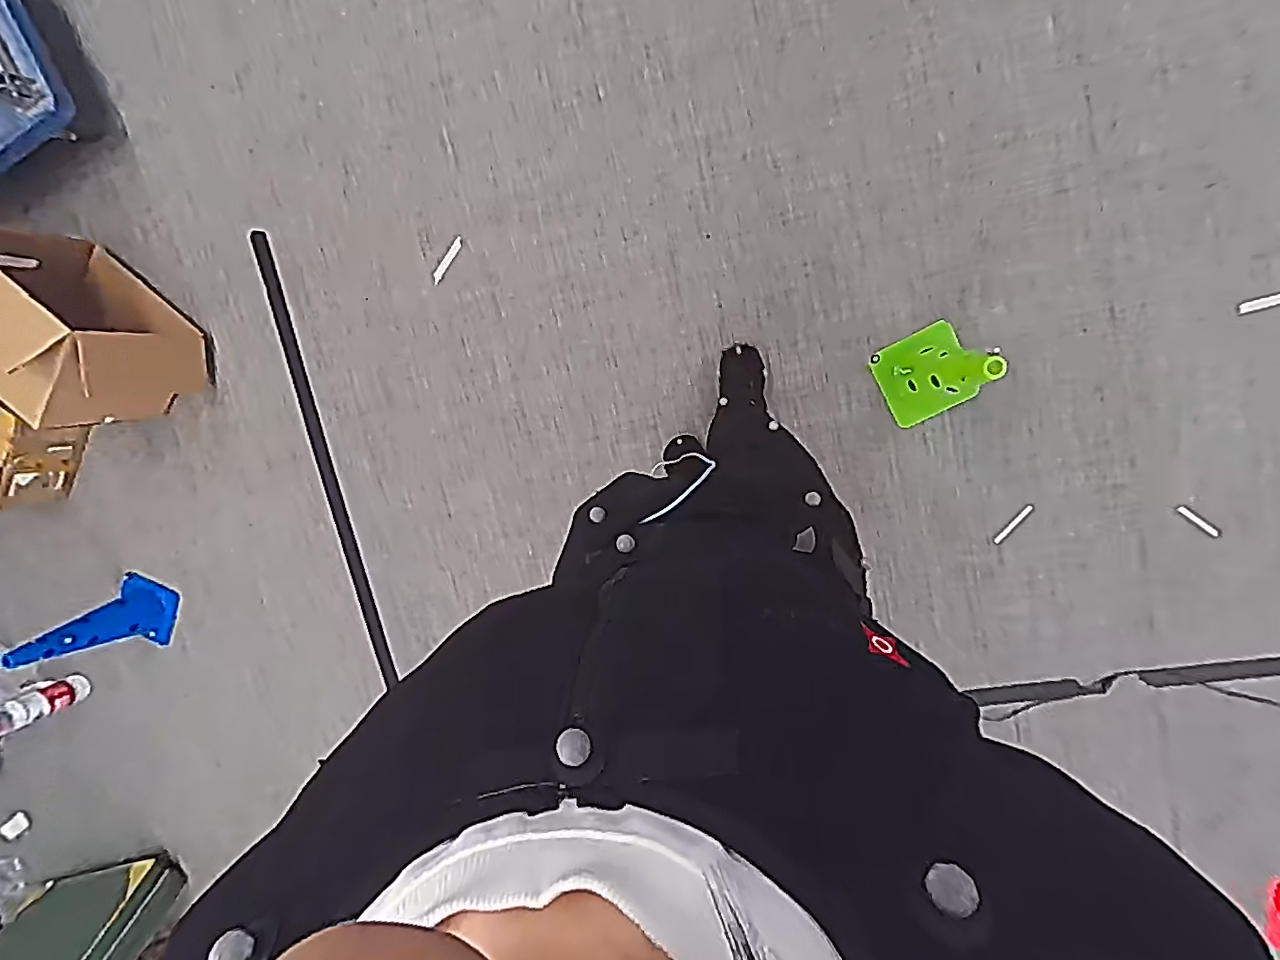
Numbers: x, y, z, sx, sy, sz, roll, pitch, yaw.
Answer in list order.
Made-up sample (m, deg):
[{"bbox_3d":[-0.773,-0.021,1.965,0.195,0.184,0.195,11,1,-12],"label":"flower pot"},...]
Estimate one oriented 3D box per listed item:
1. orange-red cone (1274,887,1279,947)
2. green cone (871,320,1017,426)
[{"bbox_3d":[1.676,1.120,1.184,0.199,0.360,0.198,-4,98,10],"label":"orange-red cone"},{"bbox_3d":[0.659,-0.226,1.122,0.202,0.368,0.200,-27,95,10],"label":"green cone"}]
